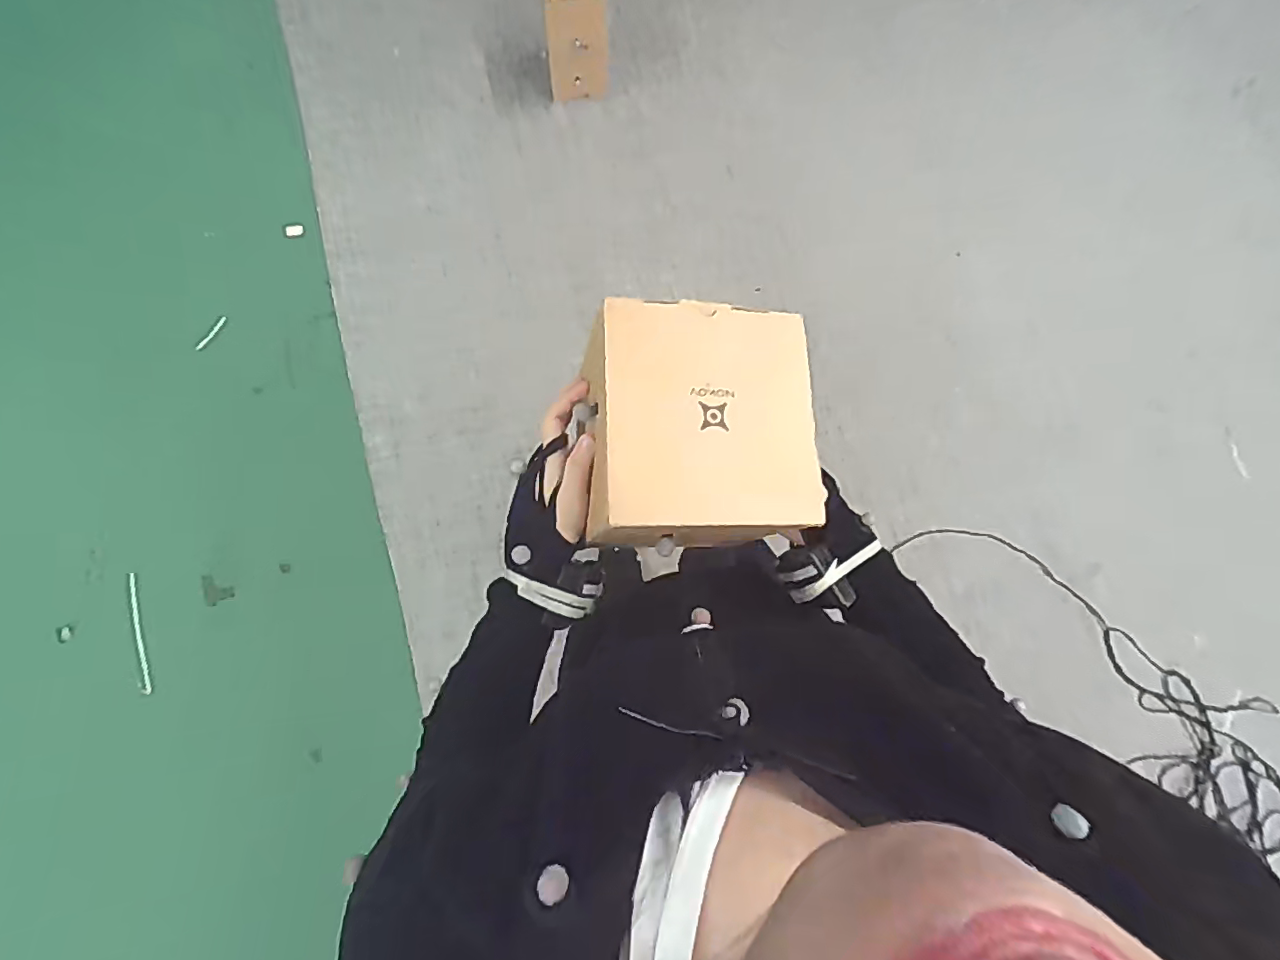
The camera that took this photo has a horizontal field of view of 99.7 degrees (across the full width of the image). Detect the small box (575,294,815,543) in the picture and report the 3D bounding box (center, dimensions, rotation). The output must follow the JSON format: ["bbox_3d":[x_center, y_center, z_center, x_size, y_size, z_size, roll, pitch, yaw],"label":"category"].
[{"bbox_3d":[0.034,-0.037,0.483,0.168,0.176,0.179,1,77,-13],"label":"small box"}]

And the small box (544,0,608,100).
[{"bbox_3d":[-0.186,-1.265,1.604,0.168,0.176,0.179,-7,84,-5],"label":"small box"}]
